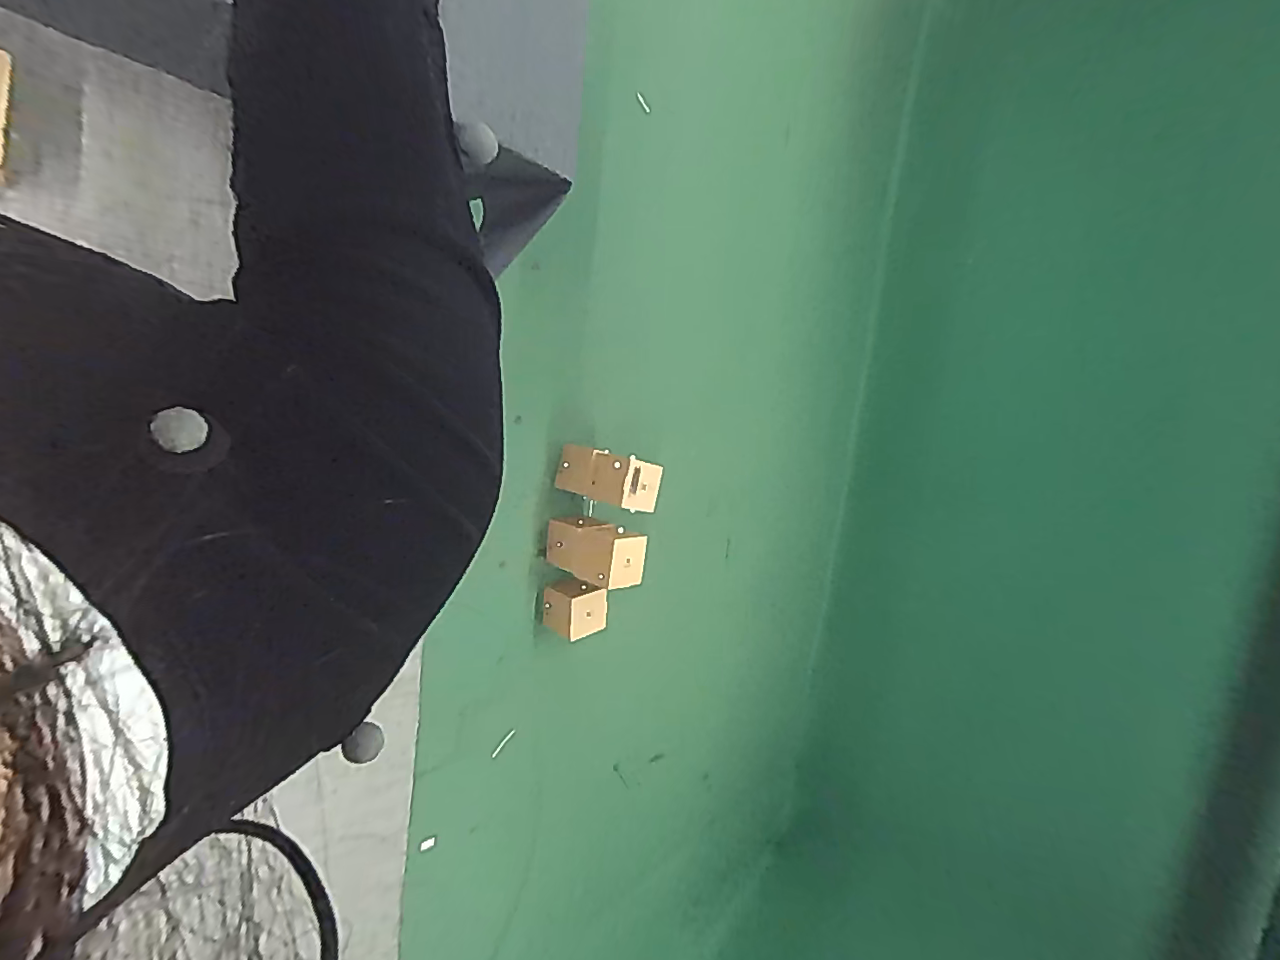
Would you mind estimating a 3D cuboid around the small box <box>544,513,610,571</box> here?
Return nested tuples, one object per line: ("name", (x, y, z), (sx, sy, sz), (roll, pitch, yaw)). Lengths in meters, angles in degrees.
("small box", (-0.235, 0.222, 1.982), (0.179, 0.176, 0.168), (-5, 103, -49))

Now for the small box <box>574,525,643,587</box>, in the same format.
("small box", (-0.112, 0.256, 1.881), (0.168, 0.176, 0.179), (0, 100, -49))

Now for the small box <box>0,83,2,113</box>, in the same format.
("small box", (-1.086, -0.578, 0.804), (0.168, 0.176, 0.179), (5, 96, -49))

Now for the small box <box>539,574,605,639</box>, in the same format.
("small box", (-0.255, 0.466, 2.022), (0.179, 0.176, 0.168), (-9, 106, -48))

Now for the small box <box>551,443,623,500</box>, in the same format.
("small box", (-0.194, -0.033, 1.965), (0.179, 0.176, 0.168), (15, 87, -48))
